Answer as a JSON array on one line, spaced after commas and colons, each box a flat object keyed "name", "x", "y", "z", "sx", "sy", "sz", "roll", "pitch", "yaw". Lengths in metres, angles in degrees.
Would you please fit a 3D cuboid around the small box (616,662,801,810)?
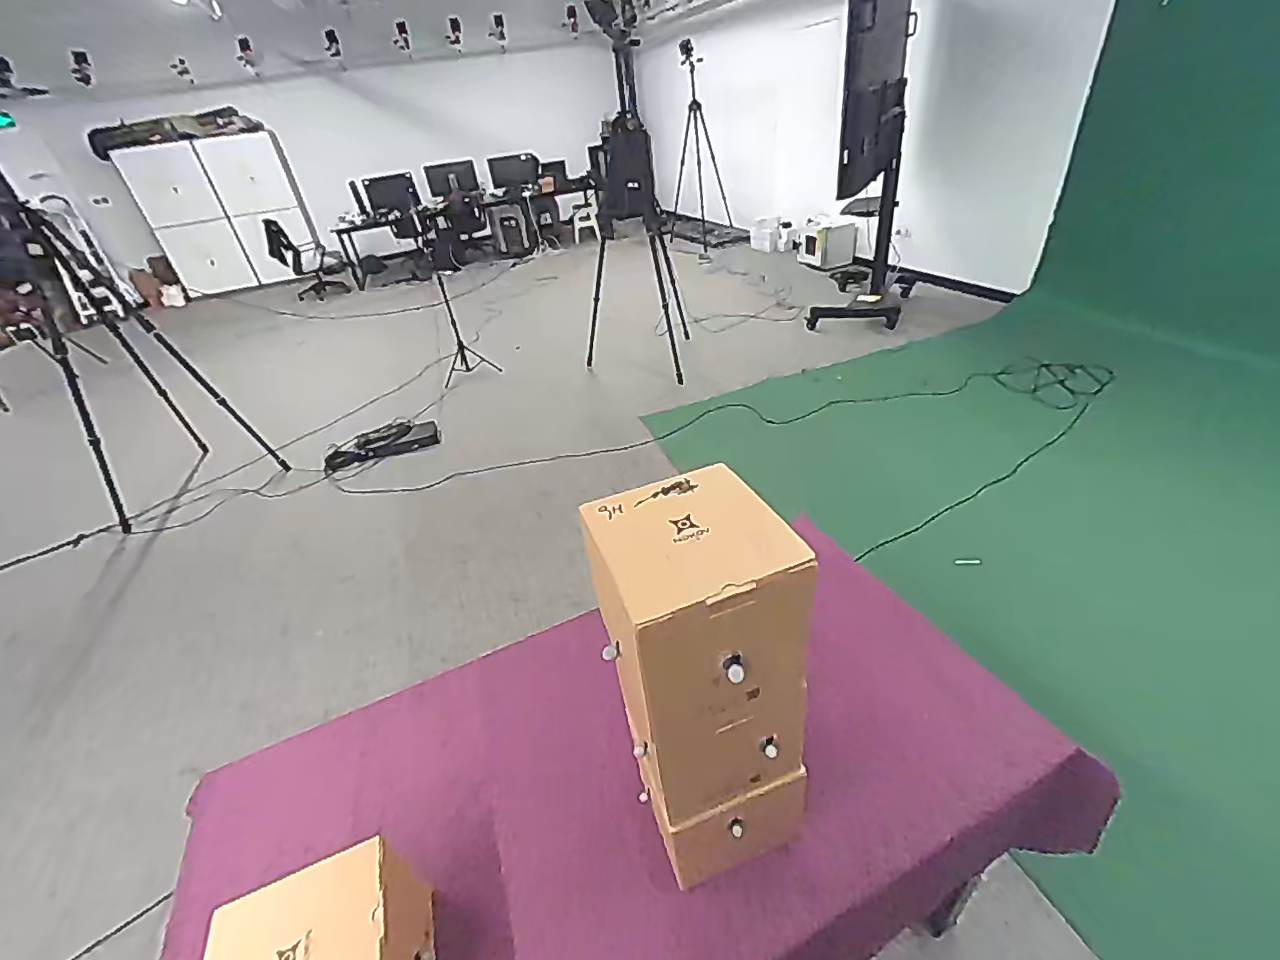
[{"name": "small box", "x": 0.072, "y": 0.252, "z": 0.636, "sx": 0.168, "sy": 0.176, "sz": 0.179, "roll": -17, "pitch": 34, "yaw": -11}]

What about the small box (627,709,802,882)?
[{"name": "small box", "x": 0.098, "y": 0.389, "z": 0.720, "sx": 0.179, "sy": 0.176, "sz": 0.168, "roll": -17, "pitch": 35, "yaw": -11}]

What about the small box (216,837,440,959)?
[{"name": "small box", "x": -0.334, "y": 0.549, "z": 0.594, "sx": 0.179, "sy": 0.176, "sz": 0.168, "roll": -19, "pitch": 35, "yaw": -15}]

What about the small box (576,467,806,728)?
[{"name": "small box", "x": 0.047, "y": 0.118, "z": 0.544, "sx": 0.168, "sy": 0.176, "sz": 0.179, "roll": -17, "pitch": 35, "yaw": -12}]
